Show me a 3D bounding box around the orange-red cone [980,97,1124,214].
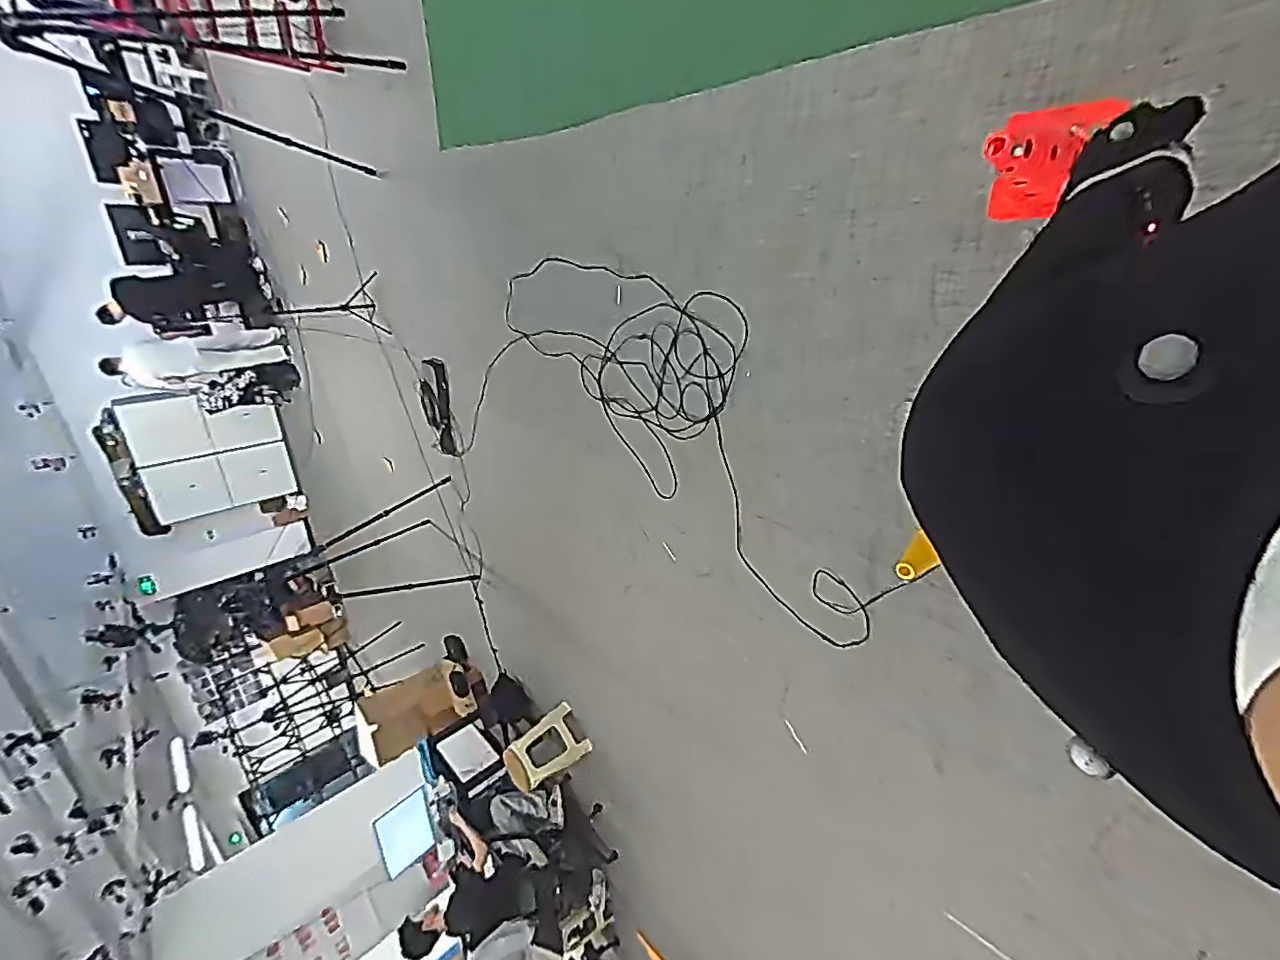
[{"bbox_3d":[0.715,-0.605,1.001,0.198,0.360,0.199,24,125,43],"label":"orange-red cone"}]
